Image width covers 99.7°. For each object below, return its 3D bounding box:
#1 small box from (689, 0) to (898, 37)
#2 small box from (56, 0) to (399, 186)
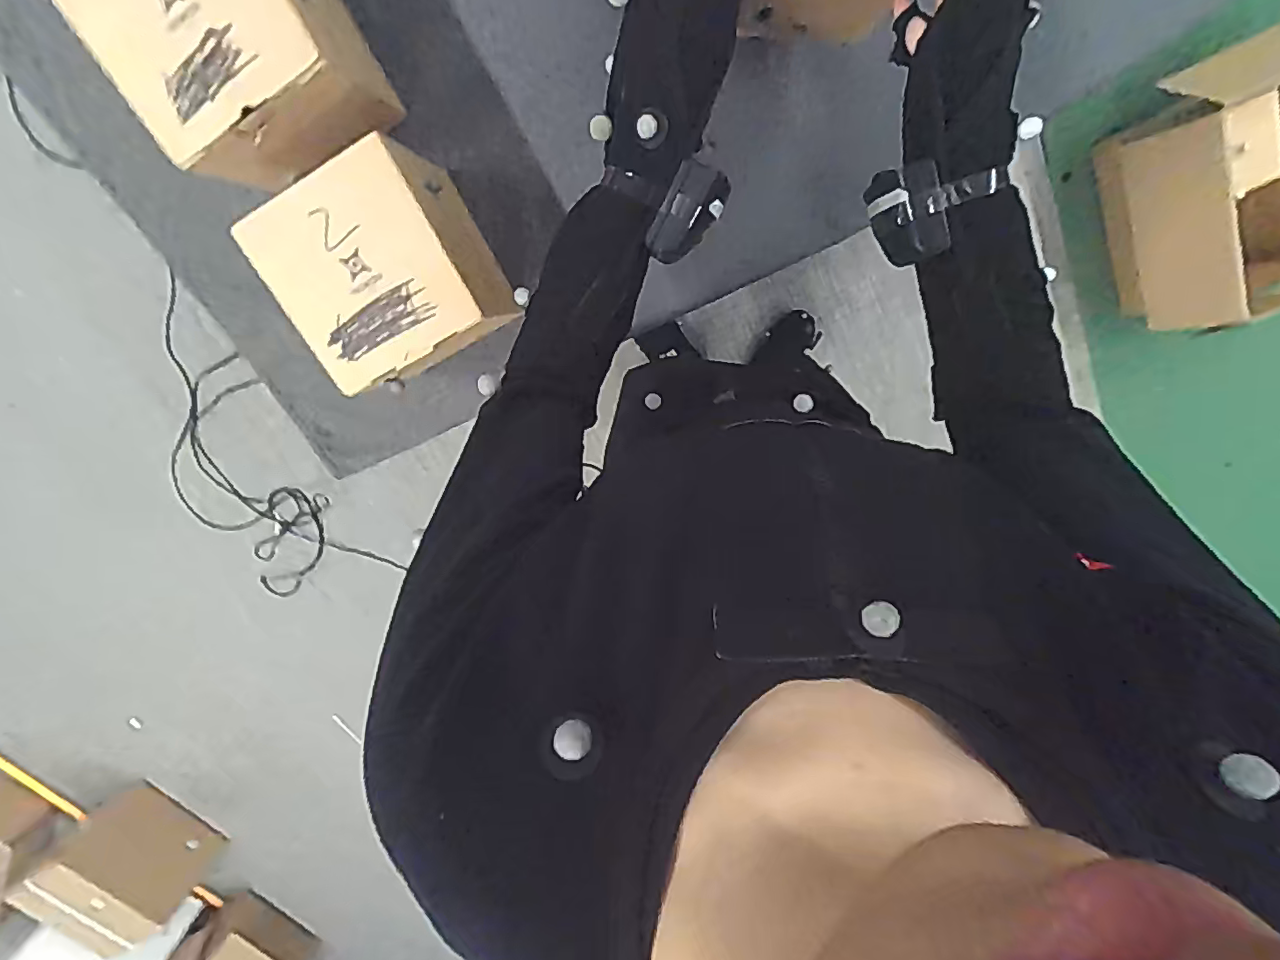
[{"bbox_3d":[0.123,-0.452,0.387,0.168,0.176,0.179,3,118,3],"label":"small box"},{"bbox_3d":[-0.368,-0.404,0.509,0.168,0.176,0.179,-27,107,10],"label":"small box"}]
